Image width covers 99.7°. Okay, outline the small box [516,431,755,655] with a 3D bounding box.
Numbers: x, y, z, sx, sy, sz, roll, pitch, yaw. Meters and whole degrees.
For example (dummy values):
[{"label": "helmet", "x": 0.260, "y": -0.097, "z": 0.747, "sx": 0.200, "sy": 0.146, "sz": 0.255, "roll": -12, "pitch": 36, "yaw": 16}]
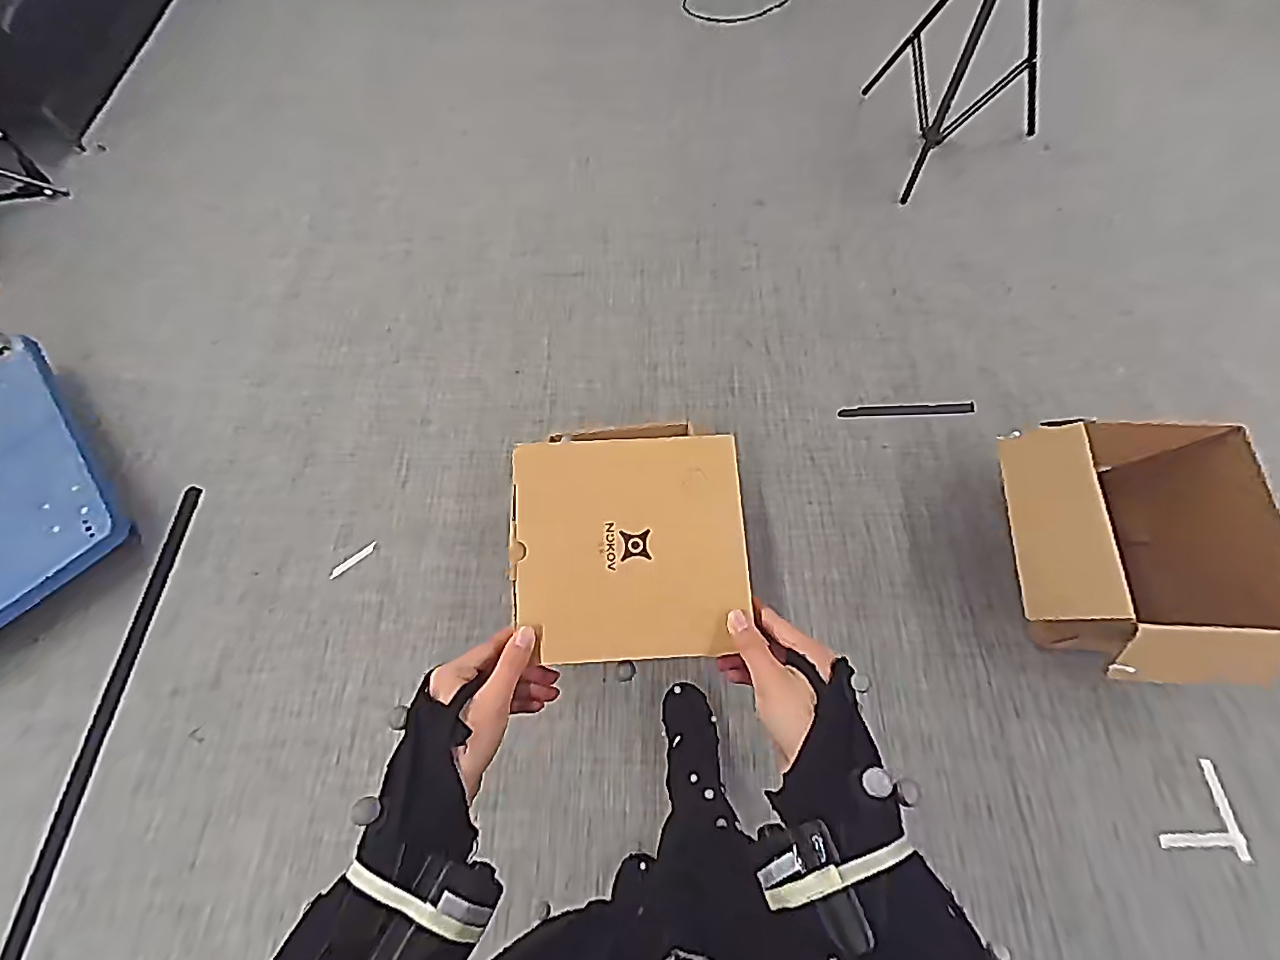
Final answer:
[{"label": "small box", "x": -0.006, "y": 0.062, "z": 0.485, "sx": 0.179, "sy": 0.176, "sz": 0.168, "roll": -4, "pitch": 76, "yaw": 0}]
